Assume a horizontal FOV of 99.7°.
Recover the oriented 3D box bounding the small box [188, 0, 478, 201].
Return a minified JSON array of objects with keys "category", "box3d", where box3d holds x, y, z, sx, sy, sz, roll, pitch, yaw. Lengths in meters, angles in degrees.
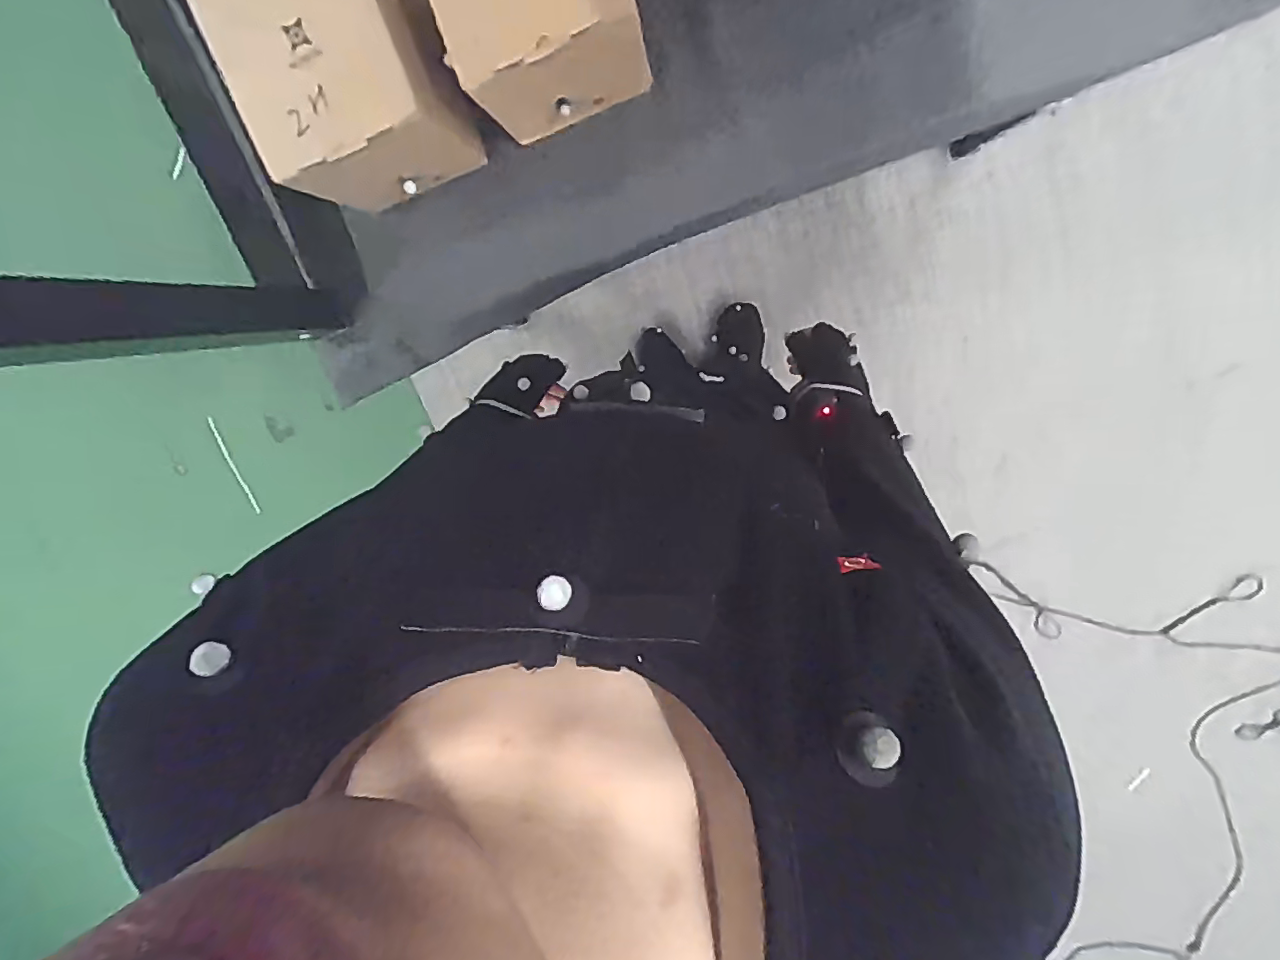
[{"category":"small box","box3d":[-0.295,-0.416,0.550,0.168,0.176,0.179,-17,105,11]}]
